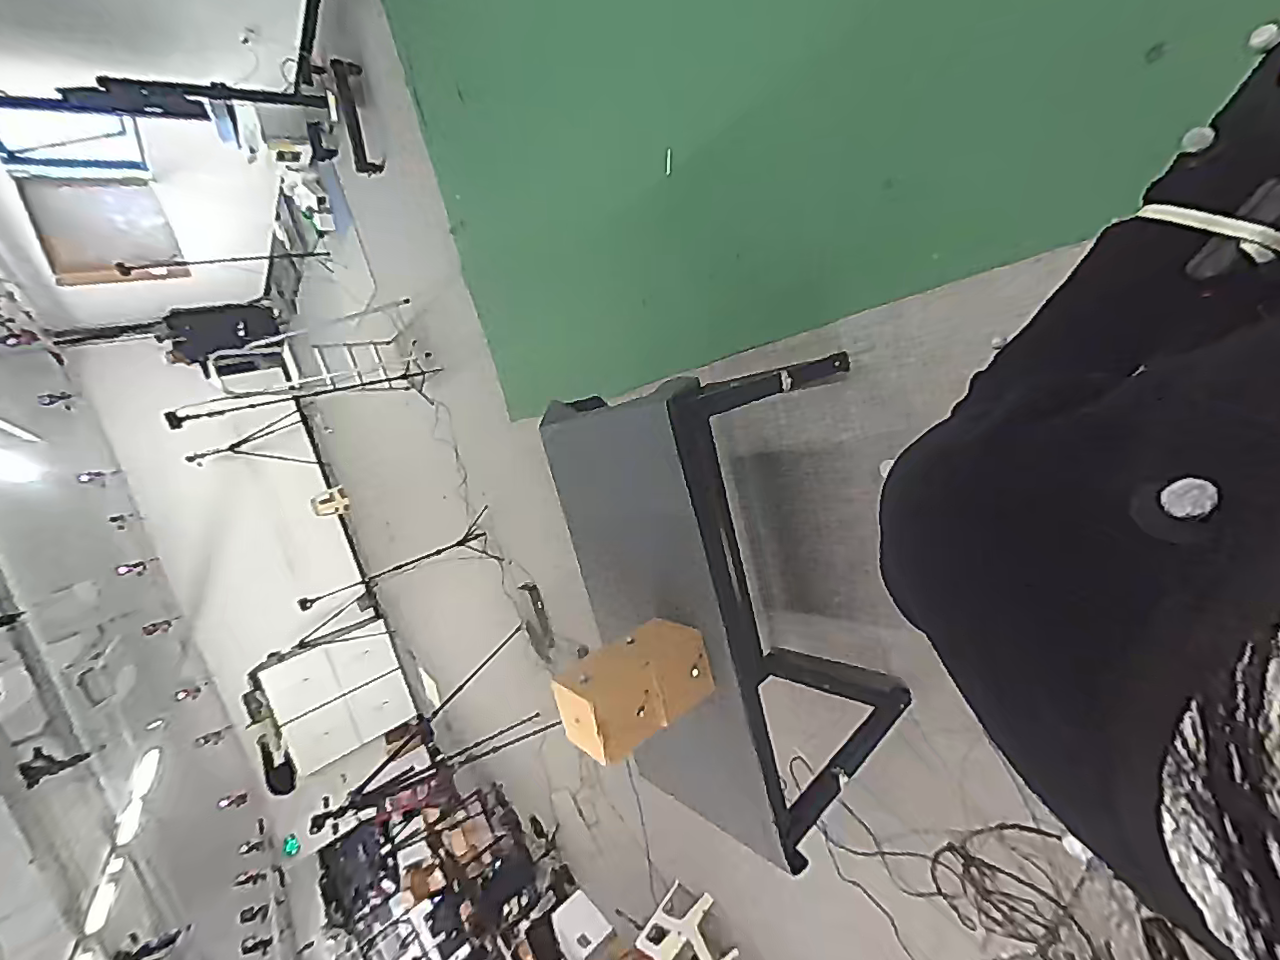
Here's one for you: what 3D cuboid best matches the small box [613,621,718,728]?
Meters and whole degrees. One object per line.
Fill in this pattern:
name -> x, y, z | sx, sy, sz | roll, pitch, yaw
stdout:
small box -> 0.064, 0.468, 1.336 | 0.179, 0.176, 0.168 | -2, 106, 53

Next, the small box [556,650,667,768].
small box -> -0.065, 0.514, 1.248 | 0.179, 0.176, 0.168 | -1, 106, 53
